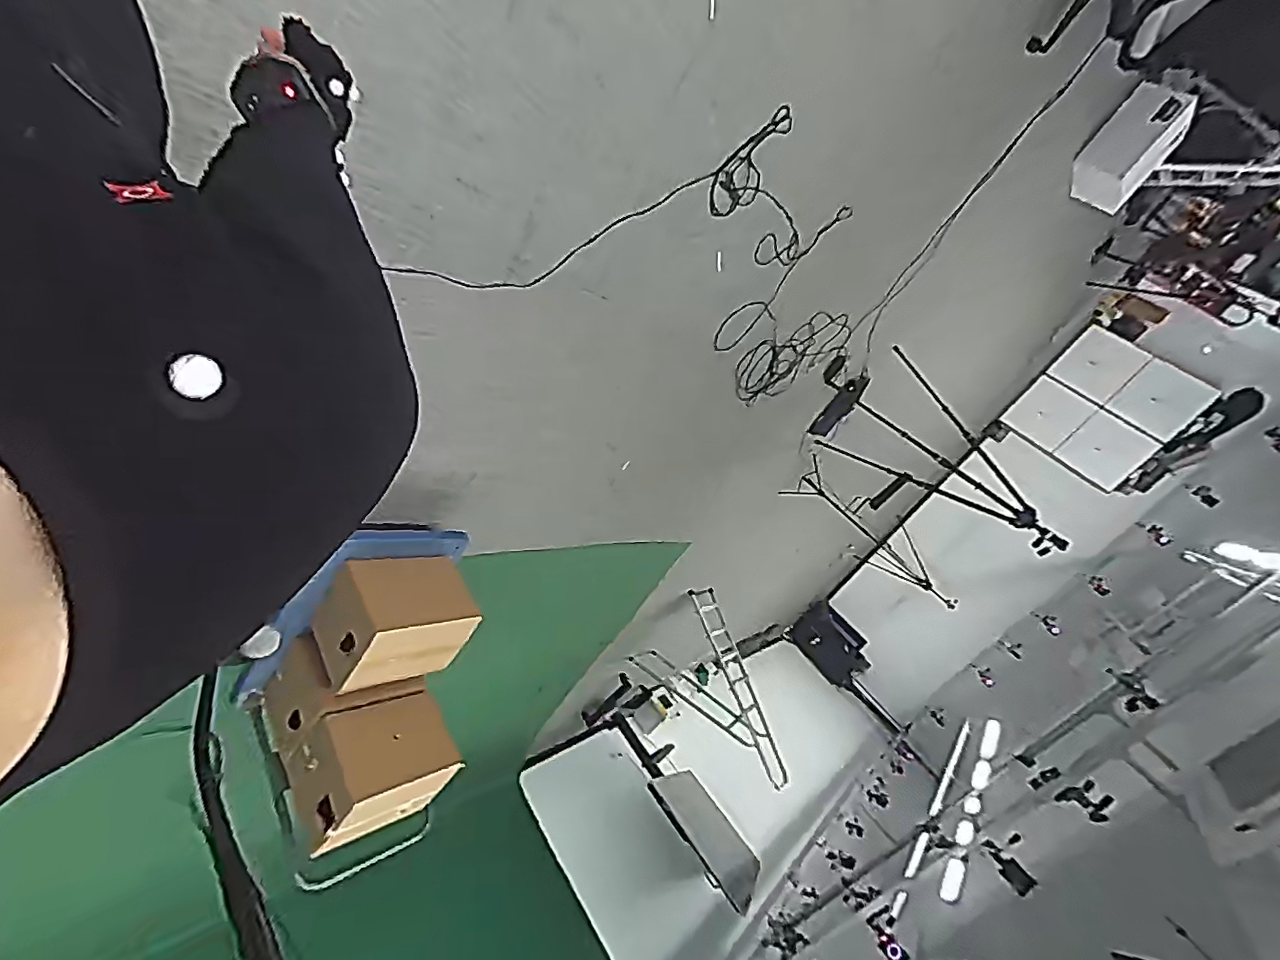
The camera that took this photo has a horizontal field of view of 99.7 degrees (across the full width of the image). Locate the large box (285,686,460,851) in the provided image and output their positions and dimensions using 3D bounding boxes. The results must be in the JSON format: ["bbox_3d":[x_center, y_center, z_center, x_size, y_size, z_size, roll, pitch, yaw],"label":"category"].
[{"bbox_3d":[-0.930,0.979,1.888,0.320,0.320,0.408,-49,152,18],"label":"large box"}]
